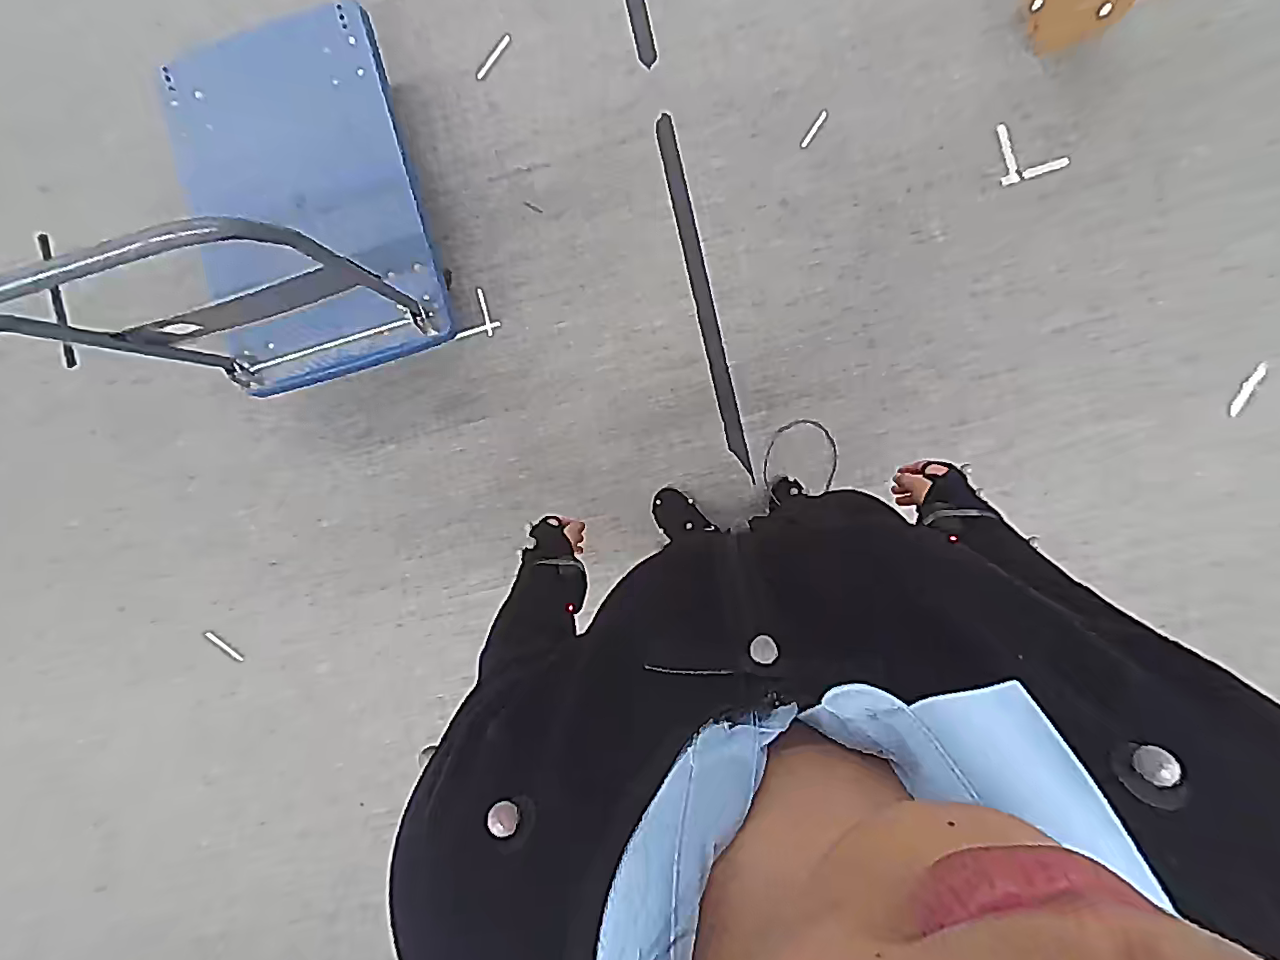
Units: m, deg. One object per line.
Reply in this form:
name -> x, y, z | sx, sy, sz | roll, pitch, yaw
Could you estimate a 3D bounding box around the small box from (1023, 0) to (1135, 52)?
small box -> 1.094, -1.211, 1.326 | 0.179, 0.176, 0.168 | -16, 91, 4
